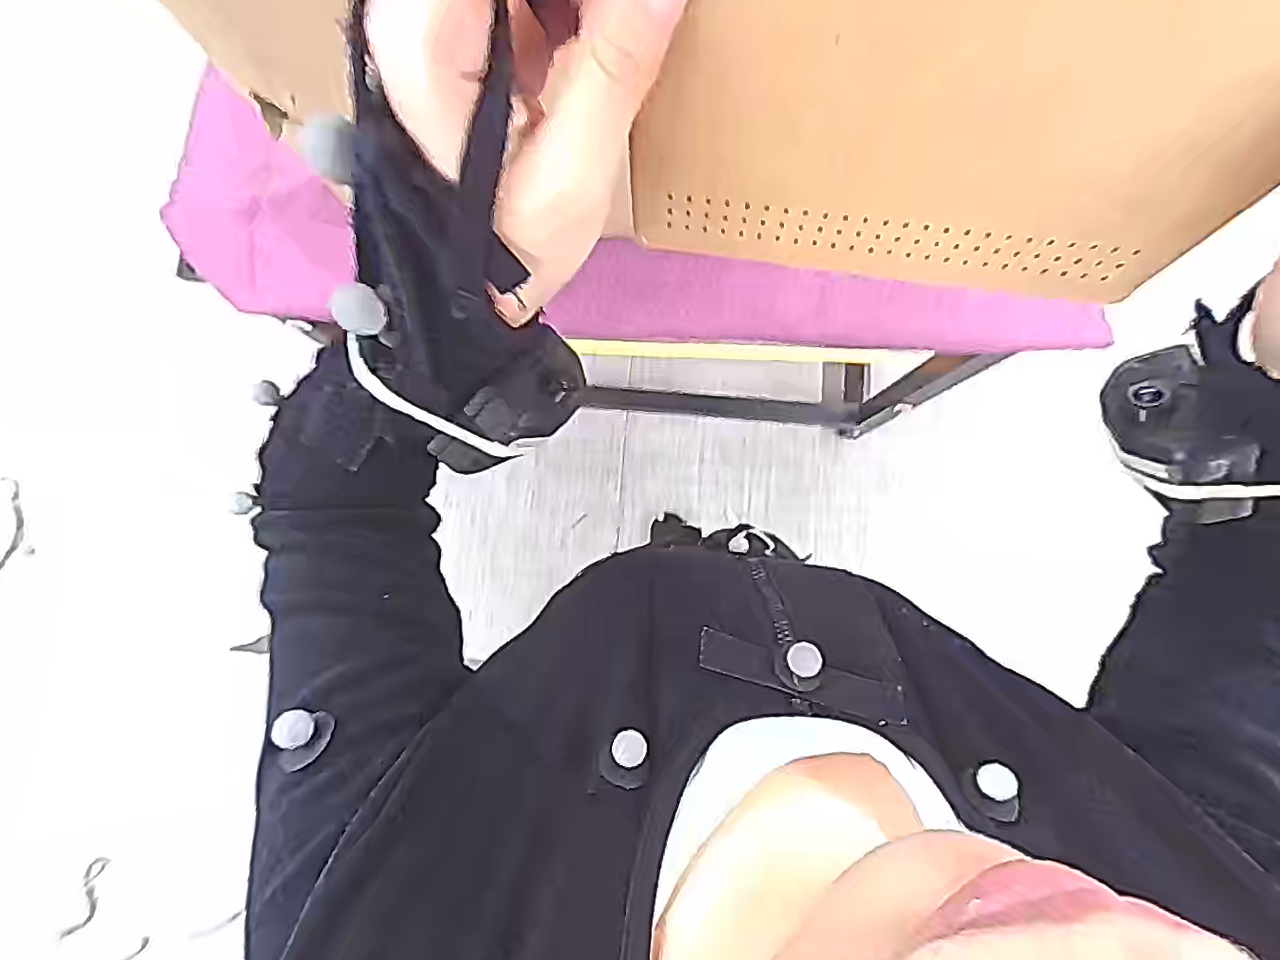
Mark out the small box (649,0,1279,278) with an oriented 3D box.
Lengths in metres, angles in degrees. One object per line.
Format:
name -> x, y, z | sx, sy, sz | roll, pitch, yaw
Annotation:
small box -> 0.098, -0.176, 0.139 | 0.179, 0.176, 0.168 | 9, 75, 4
